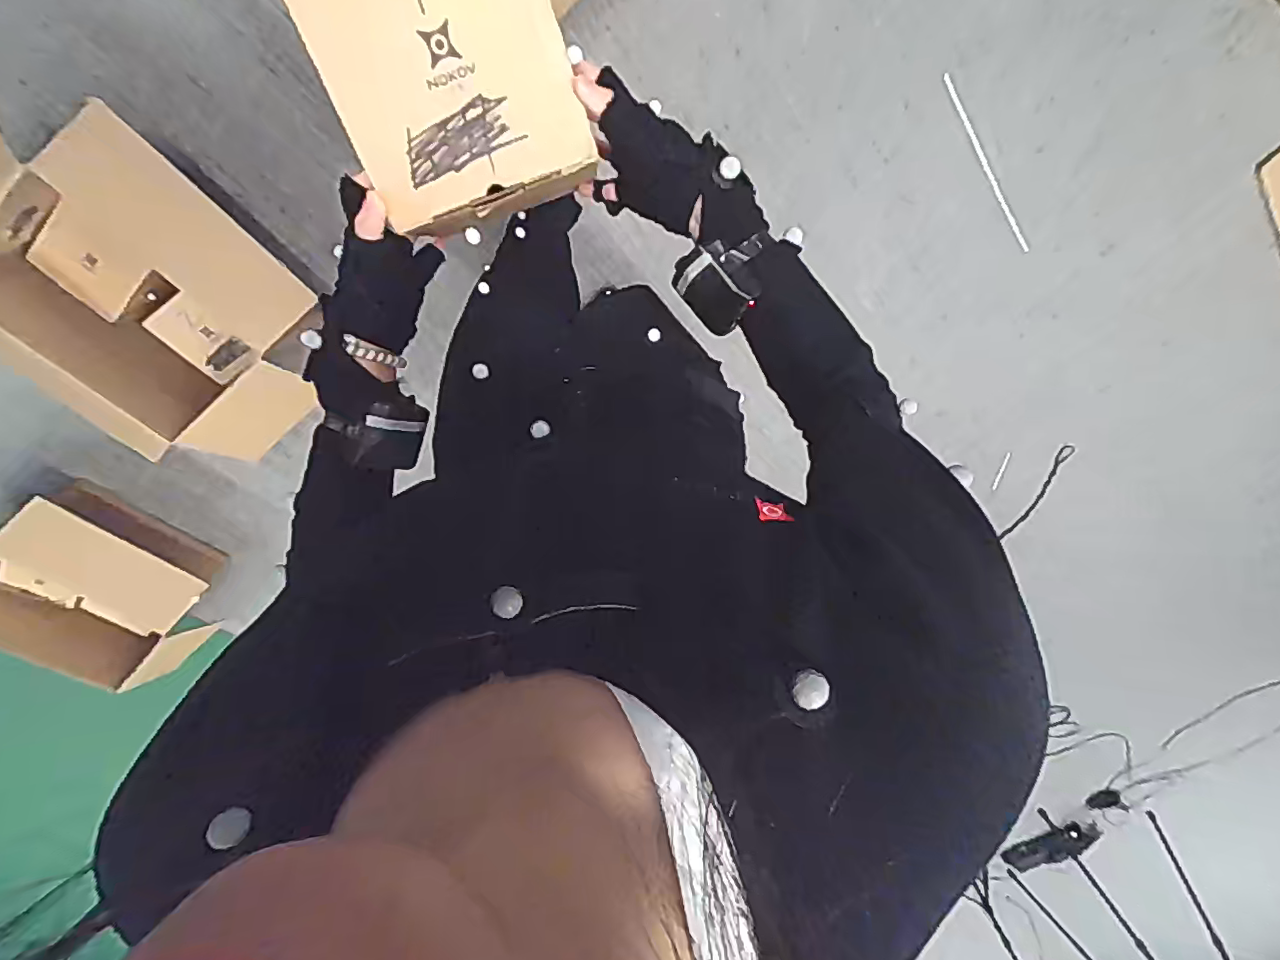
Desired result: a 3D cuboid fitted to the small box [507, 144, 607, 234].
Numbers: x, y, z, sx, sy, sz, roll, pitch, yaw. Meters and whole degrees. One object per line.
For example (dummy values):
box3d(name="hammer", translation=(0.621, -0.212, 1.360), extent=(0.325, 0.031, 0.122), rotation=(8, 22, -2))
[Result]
box3d(name="small box", translation=(-0.199, -0.649, 1.136), extent=(0.179, 0.176, 0.168), rotation=(32, 127, -5))

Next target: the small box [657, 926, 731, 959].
box3d(name="small box", translation=(0.174, 1.493, 1.642), extent=(0.168, 0.176, 0.179), rotation=(-41, 118, 18))

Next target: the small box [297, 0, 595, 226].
box3d(name="small box", translation=(-0.140, -0.326, 0.447), extent=(0.168, 0.176, 0.179), rotation=(-19, 113, 2))
